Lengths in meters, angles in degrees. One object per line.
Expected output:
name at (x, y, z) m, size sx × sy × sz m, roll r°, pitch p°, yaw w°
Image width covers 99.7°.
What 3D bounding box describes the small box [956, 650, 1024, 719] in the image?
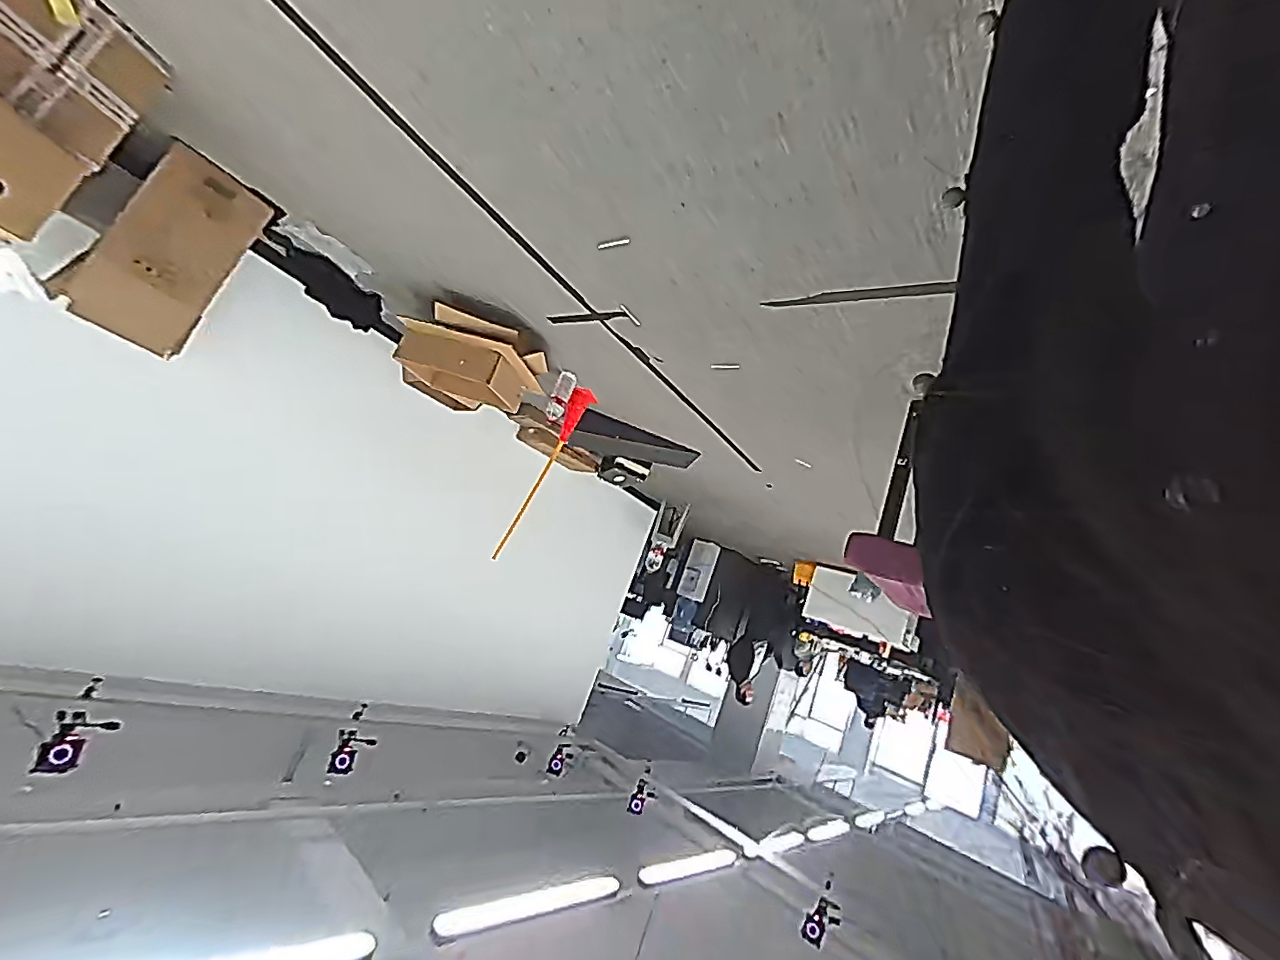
small box at (1.170, 0.679, 1.805) m, size 0.168 × 0.176 × 0.179 m, roll 10°, pitch 164°, yaw 39°
